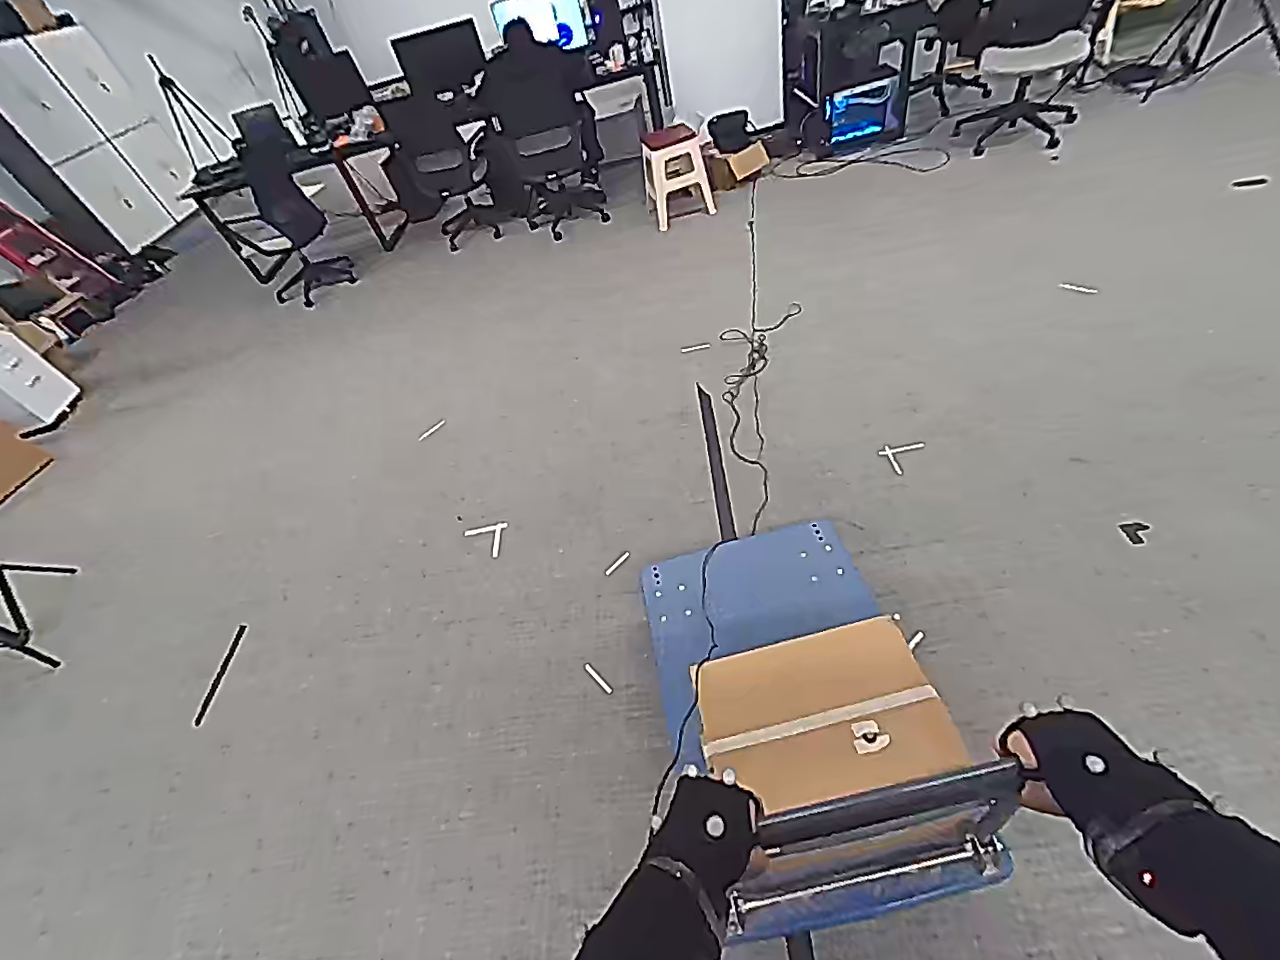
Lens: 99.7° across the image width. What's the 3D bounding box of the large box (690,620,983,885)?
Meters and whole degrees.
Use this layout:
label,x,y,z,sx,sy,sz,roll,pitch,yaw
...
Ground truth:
label,x,y,z,sx,sy,sz,roll,pitch,yaw
large box,0.342,0.526,1.037,0.408,0.320,0.320,-16,46,3
